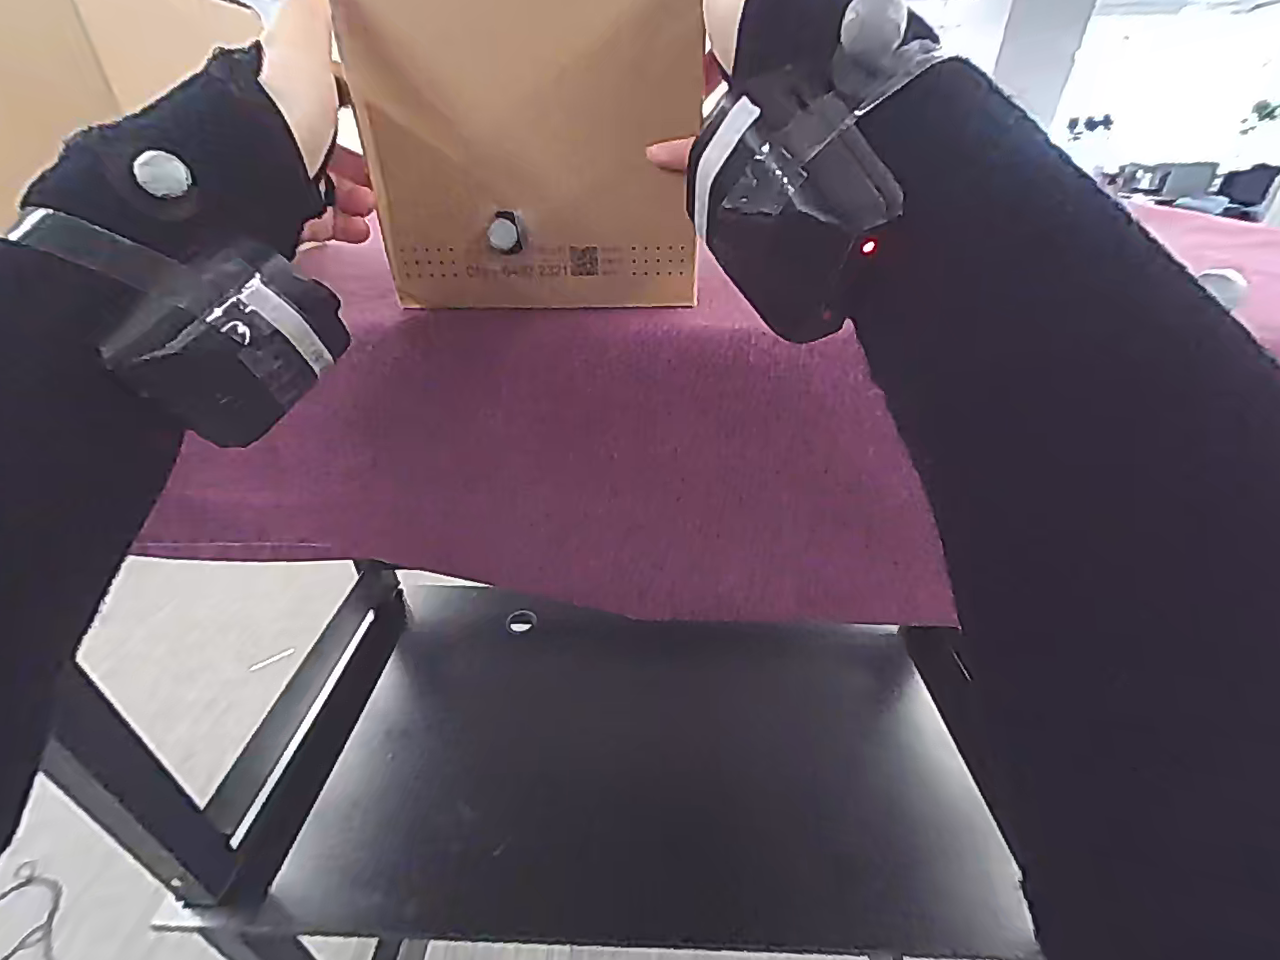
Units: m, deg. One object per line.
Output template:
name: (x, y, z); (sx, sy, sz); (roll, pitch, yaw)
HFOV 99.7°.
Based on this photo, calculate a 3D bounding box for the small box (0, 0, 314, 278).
small box: (-0.363, -0.248, 0.379); (0.168, 0.176, 0.179); (0, 31, 1)

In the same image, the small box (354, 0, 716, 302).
small box: (-0.049, -0.213, 0.326); (0.168, 0.176, 0.179); (-1, 32, 0)
